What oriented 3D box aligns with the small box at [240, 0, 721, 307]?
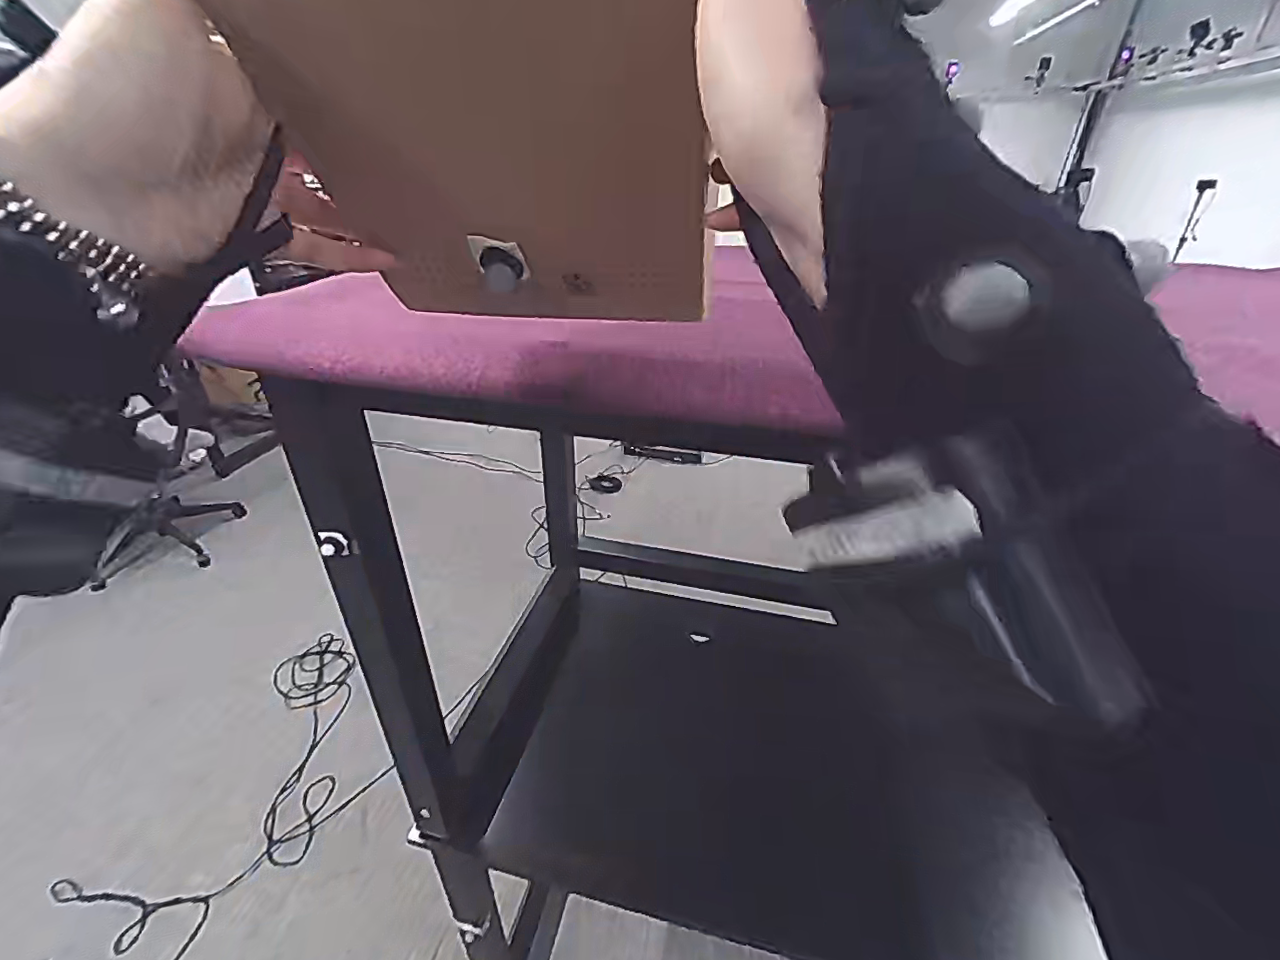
[{"bbox_3d":[-0.049,-0.206,0.252,0.168,0.176,0.179,2,62,10],"label":"small box"}]
